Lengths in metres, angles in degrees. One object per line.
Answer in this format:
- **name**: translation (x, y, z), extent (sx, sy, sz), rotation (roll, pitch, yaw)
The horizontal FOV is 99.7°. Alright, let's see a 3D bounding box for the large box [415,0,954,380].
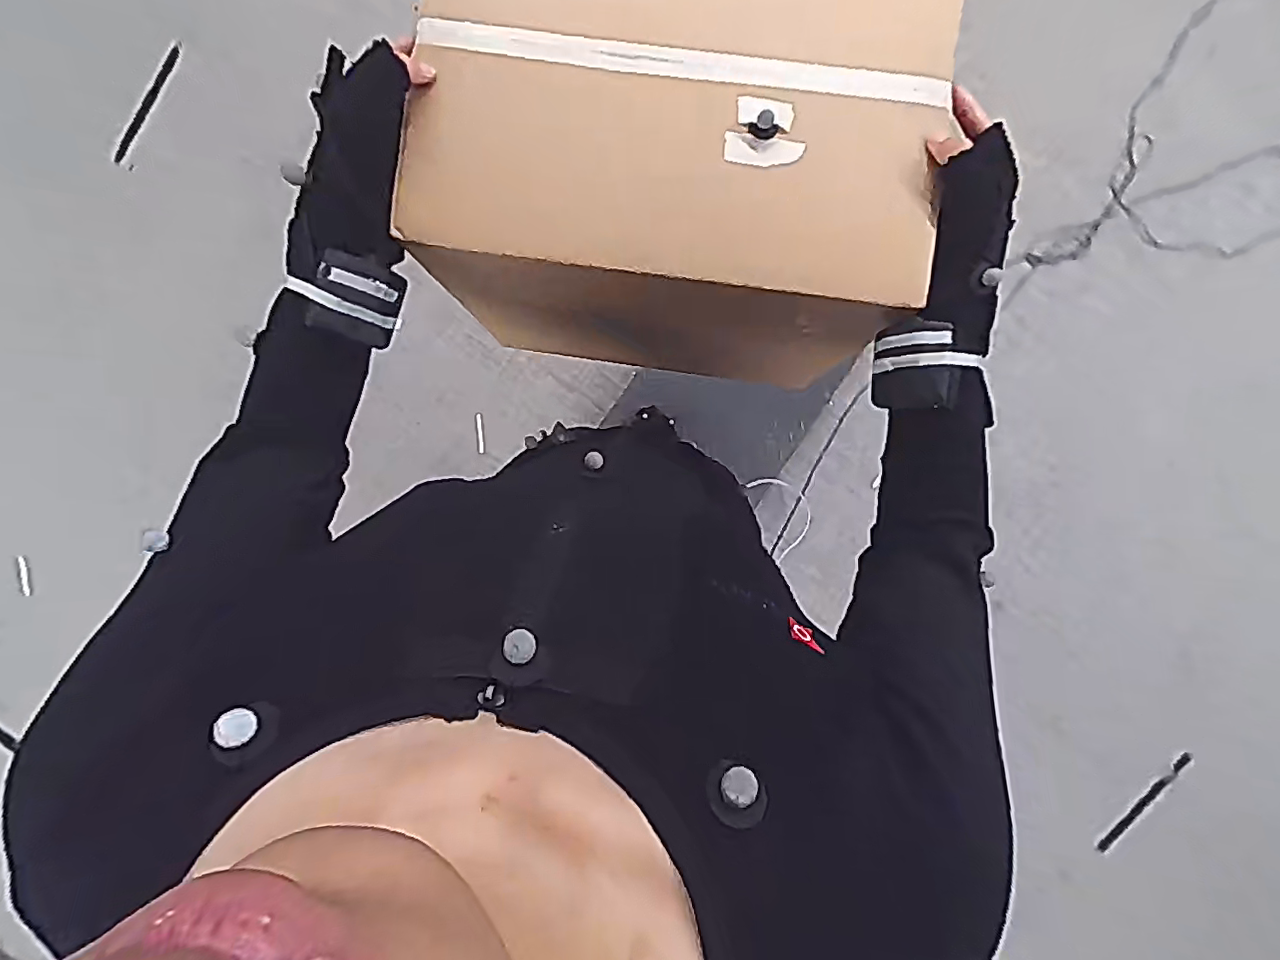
- **large box**: translation (0.038, -0.310, 0.572), extent (0.408, 0.320, 0.320), rotation (8, 89, 1)
